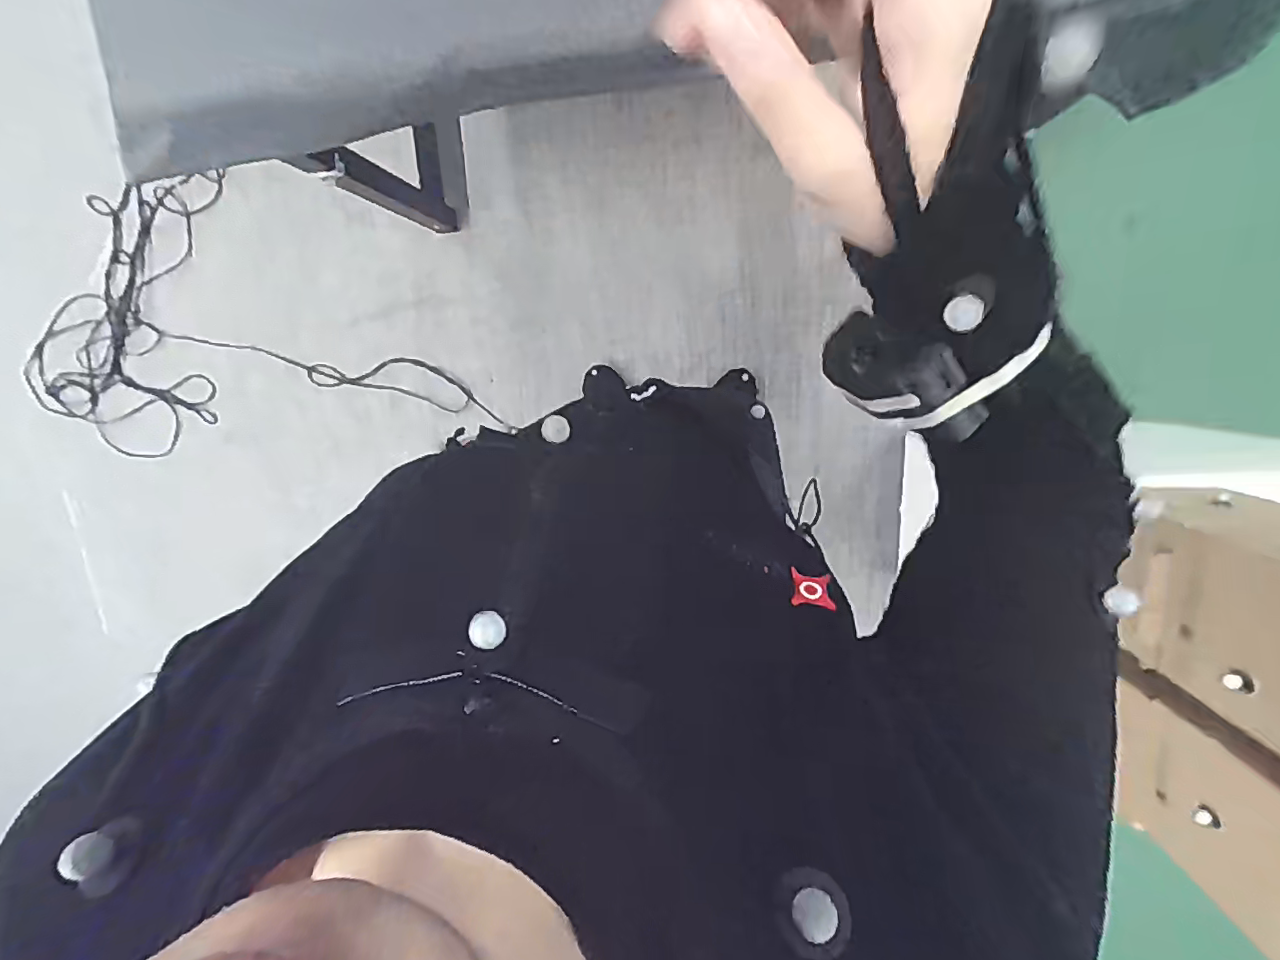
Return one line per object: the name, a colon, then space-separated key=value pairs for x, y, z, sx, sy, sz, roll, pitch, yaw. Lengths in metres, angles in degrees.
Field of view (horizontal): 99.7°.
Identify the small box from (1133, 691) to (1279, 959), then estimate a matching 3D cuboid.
small box: x=0.631 y=0.322 z=0.520 sx=0.179 sy=0.176 sz=0.168 roll=-5 pitch=102 yaw=7
